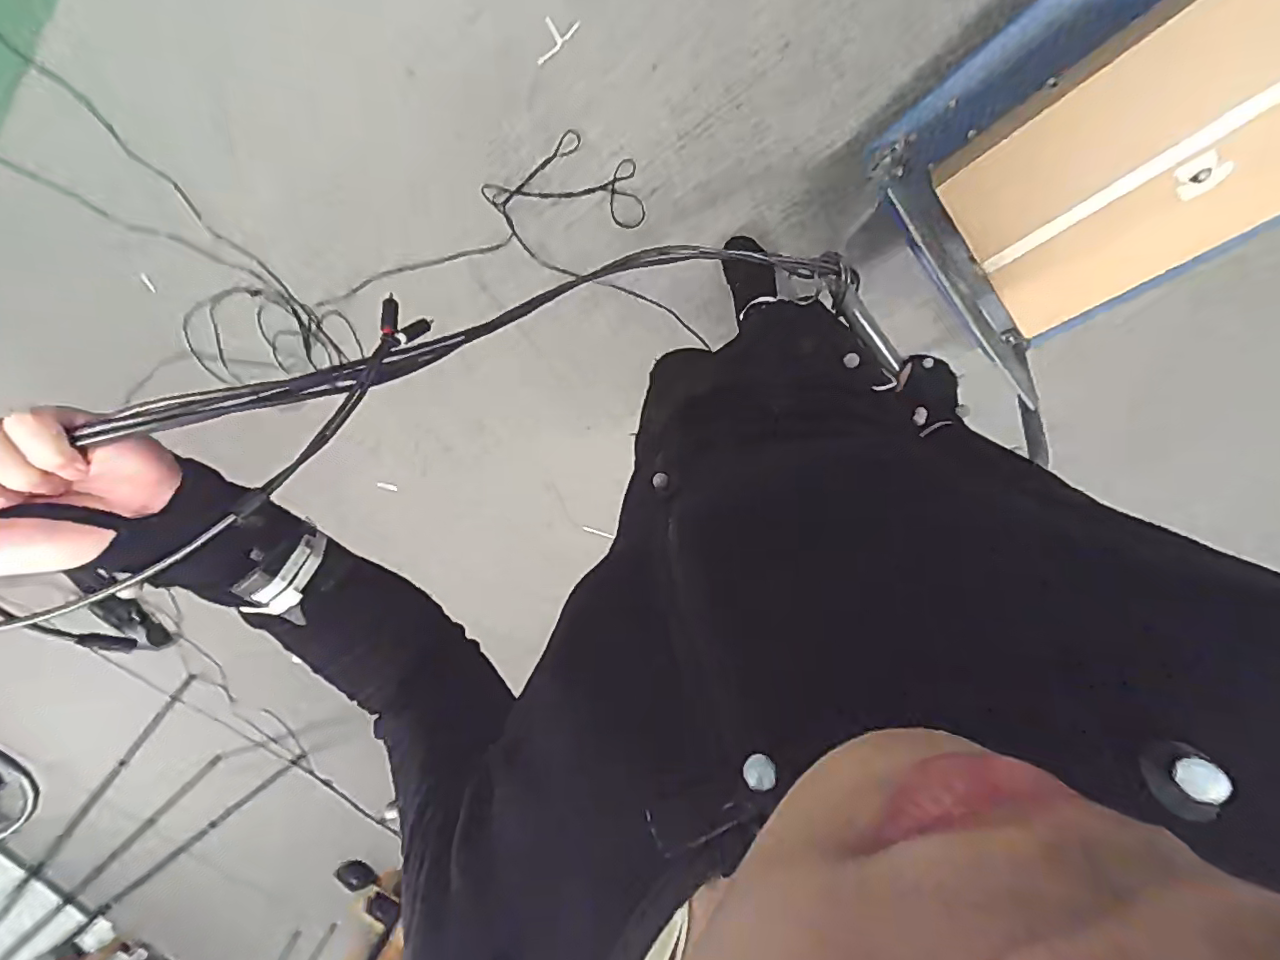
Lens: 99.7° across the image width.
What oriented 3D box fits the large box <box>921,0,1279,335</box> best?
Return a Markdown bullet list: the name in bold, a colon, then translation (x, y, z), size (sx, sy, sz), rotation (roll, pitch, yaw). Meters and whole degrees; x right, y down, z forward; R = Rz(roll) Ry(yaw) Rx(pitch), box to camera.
- **large box**: translation (0.759, -0.526, 0.929), size (0.408, 0.320, 0.320), rotation (-30, 105, 37)
